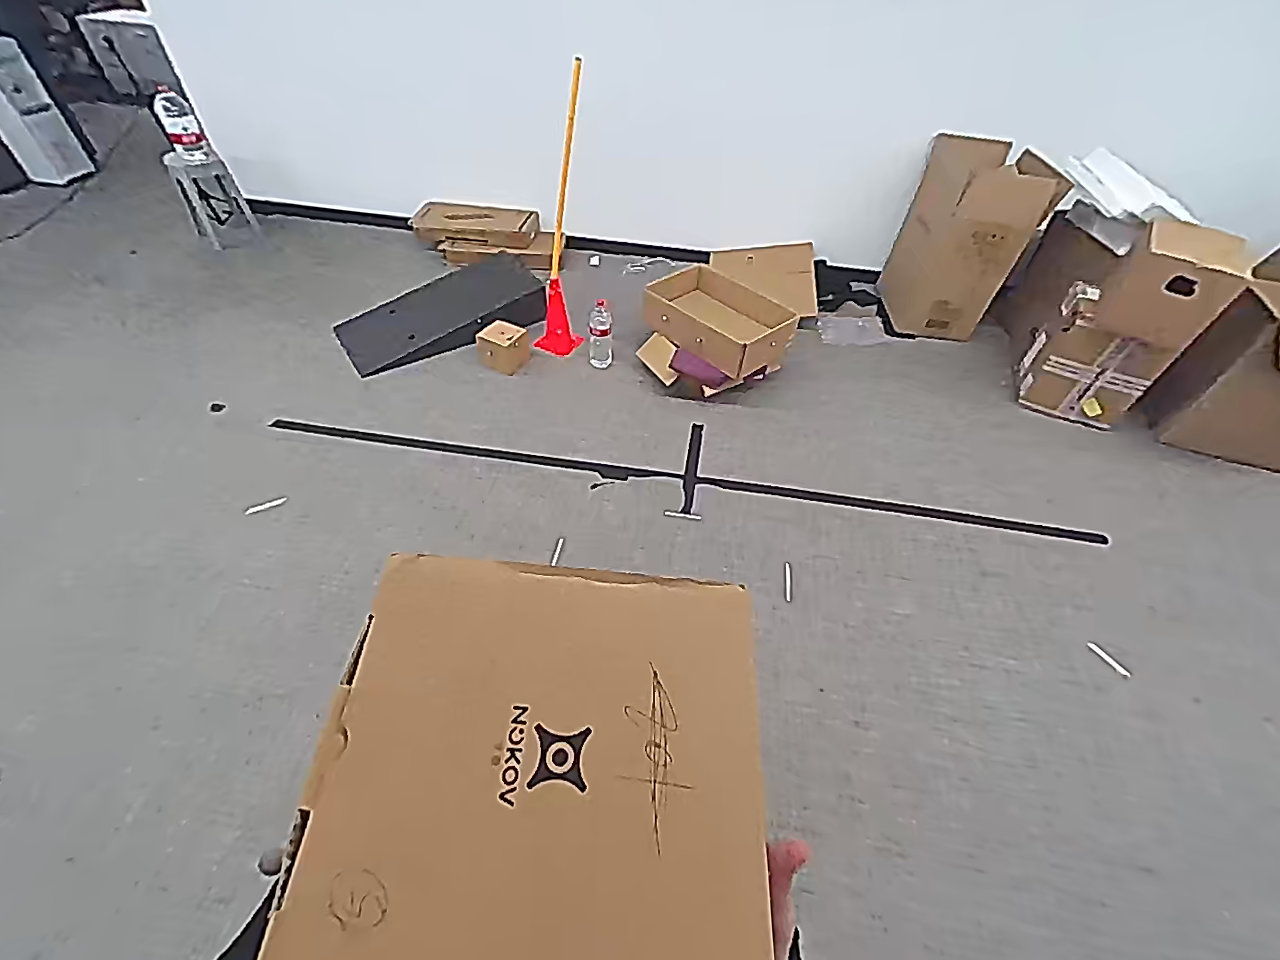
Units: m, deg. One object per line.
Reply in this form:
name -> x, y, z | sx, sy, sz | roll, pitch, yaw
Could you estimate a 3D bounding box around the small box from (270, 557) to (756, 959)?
small box -> -0.049, 0.158, 0.300 | 0.179, 0.176, 0.168 | 6, 57, -5
